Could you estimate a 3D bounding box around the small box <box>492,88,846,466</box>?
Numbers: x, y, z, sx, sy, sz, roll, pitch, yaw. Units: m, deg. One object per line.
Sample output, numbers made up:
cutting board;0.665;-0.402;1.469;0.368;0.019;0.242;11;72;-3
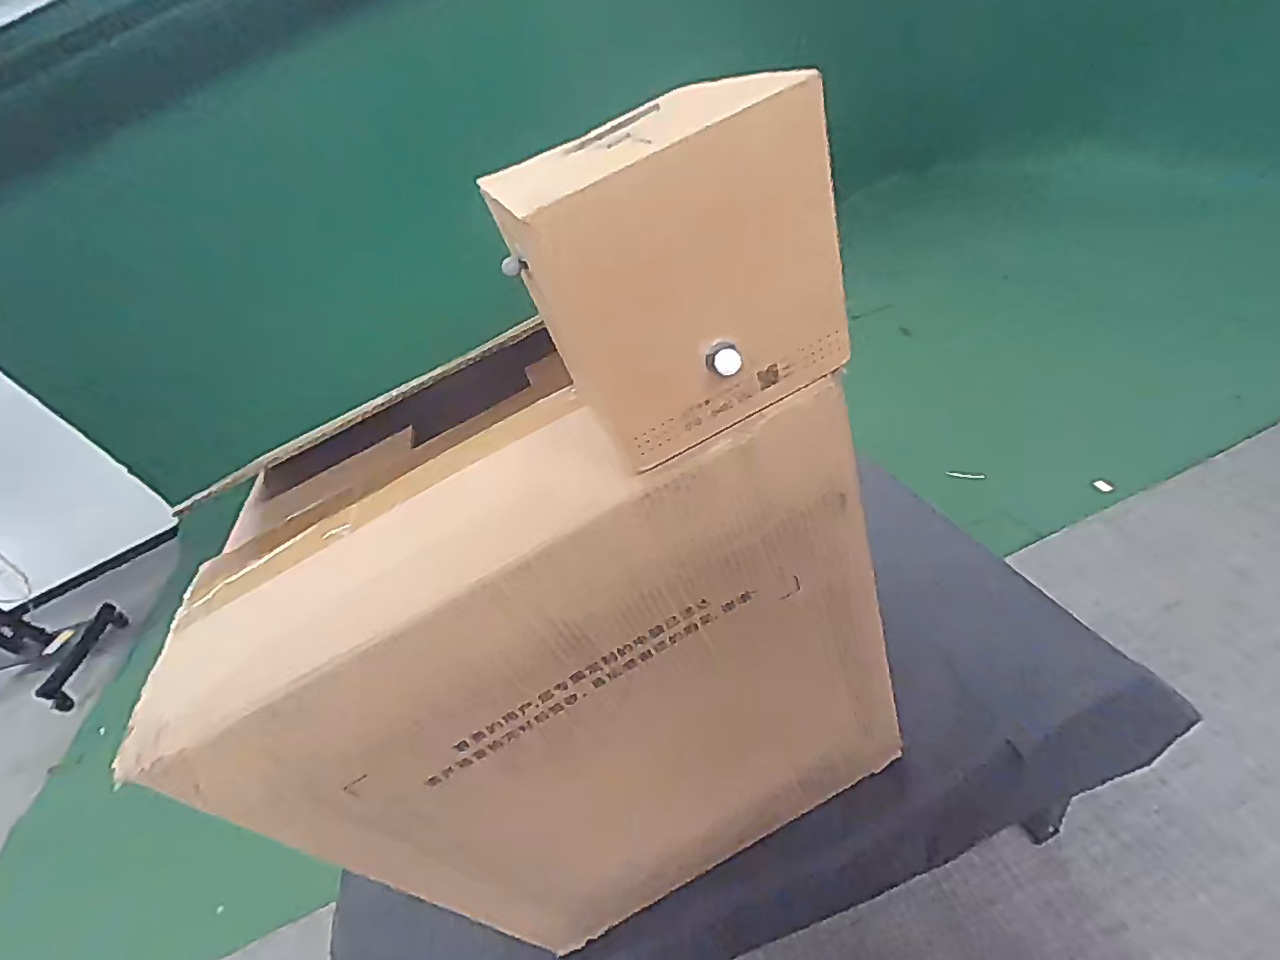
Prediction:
small box;0.019;-0.140;0.375;0.168;0.176;0.179;-28;39;-4
